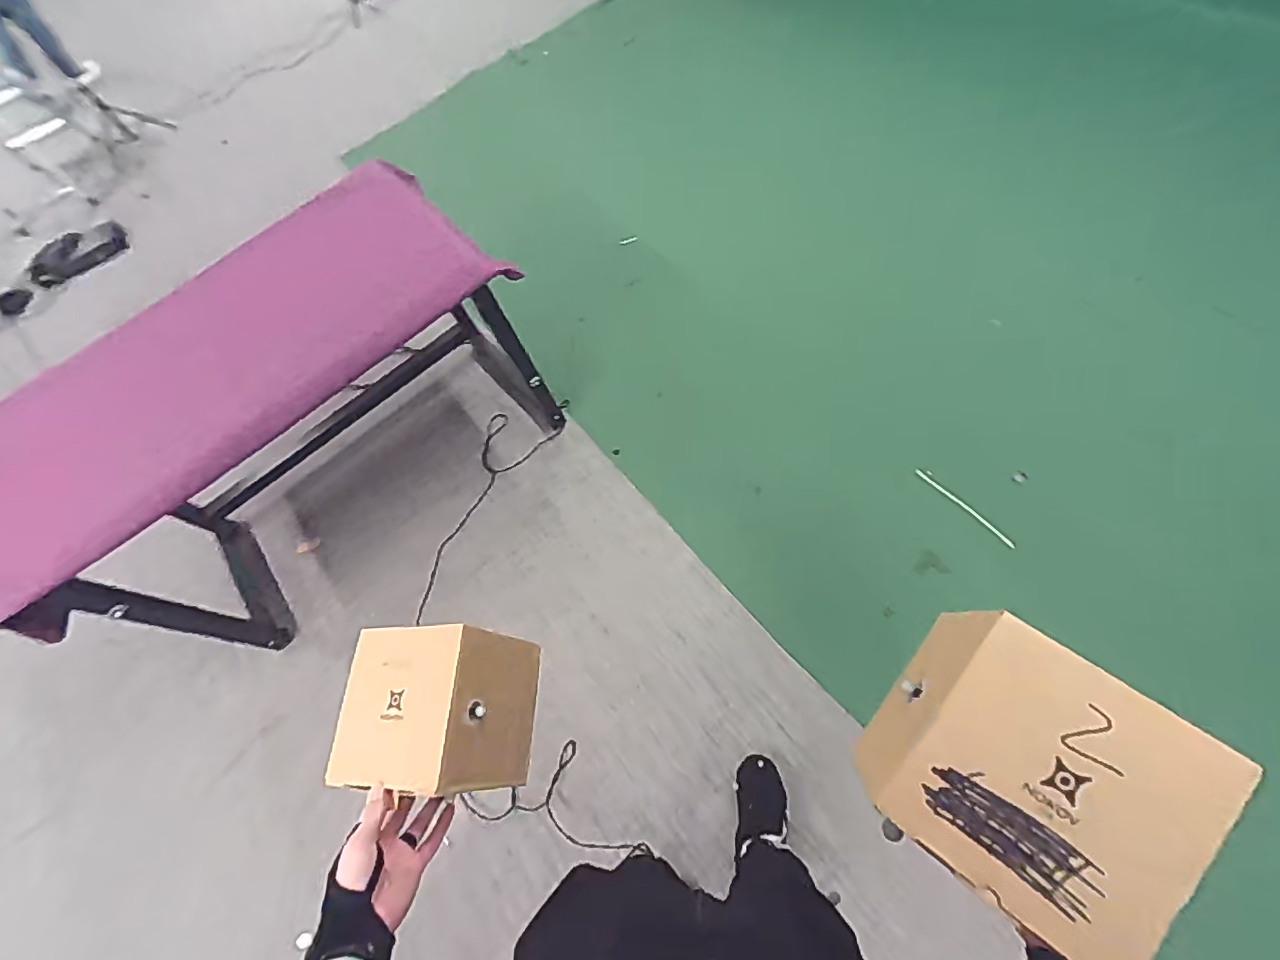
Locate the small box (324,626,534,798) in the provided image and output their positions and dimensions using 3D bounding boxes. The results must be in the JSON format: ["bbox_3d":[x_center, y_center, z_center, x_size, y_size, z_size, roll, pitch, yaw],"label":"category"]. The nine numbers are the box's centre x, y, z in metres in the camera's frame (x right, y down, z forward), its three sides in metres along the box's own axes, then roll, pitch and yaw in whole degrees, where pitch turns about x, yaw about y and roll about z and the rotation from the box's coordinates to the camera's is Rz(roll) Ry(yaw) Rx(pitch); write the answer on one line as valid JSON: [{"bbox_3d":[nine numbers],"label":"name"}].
[{"bbox_3d":[-0.251,0.288,0.683,0.168,0.176,0.179,-9,63,21],"label":"small box"}]
